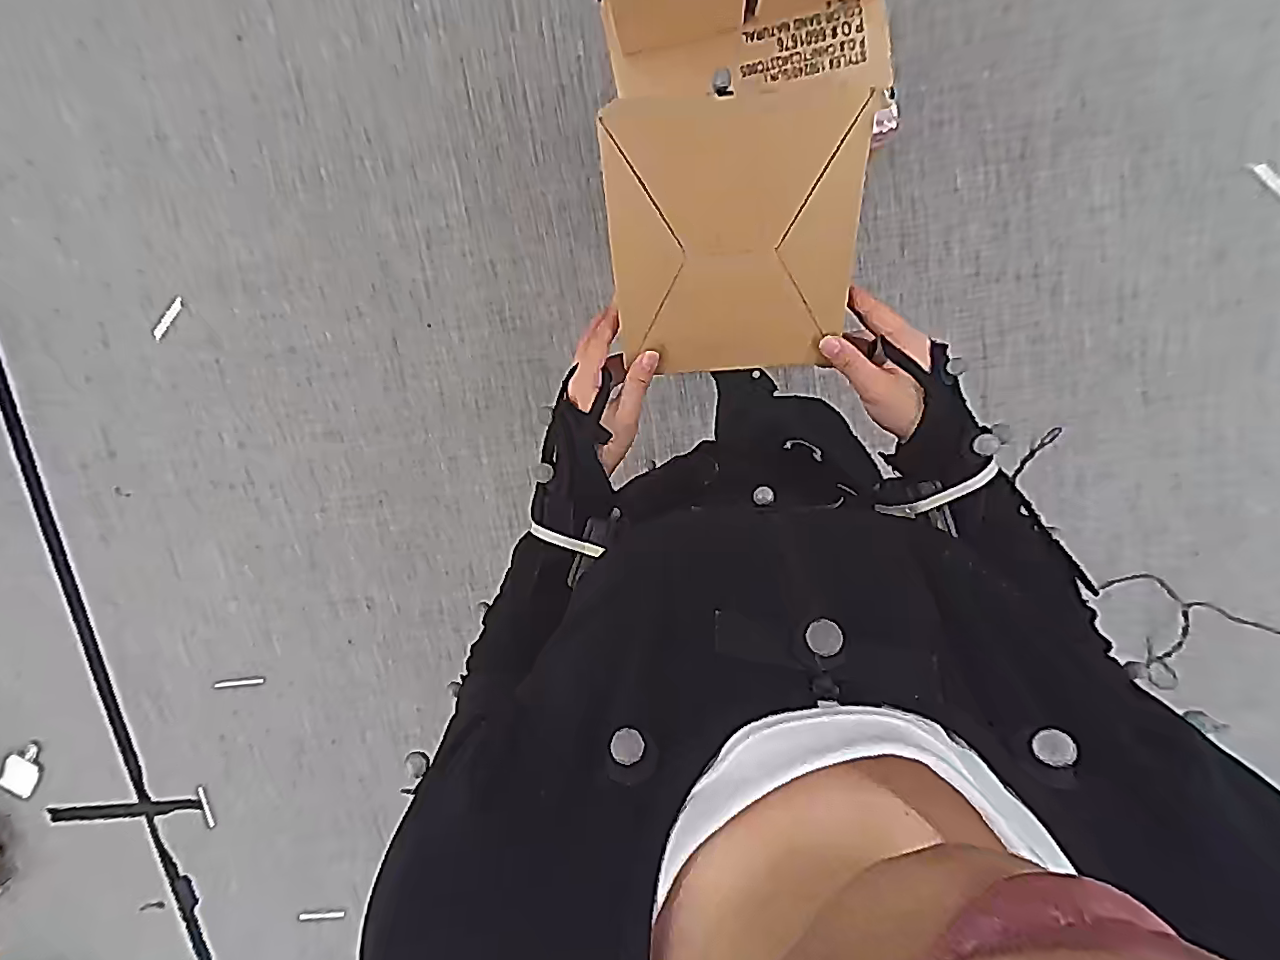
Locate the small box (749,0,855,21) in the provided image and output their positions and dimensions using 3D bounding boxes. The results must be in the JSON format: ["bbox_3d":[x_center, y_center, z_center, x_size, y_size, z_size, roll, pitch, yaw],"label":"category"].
[{"bbox_3d":[0.226,-0.713,0.656,0.179,0.176,0.168,-9,101,5],"label":"small box"}]

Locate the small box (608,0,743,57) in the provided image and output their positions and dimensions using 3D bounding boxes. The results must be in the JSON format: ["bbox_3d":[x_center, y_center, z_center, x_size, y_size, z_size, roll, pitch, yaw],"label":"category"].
[{"bbox_3d":[0.040,-0.679,0.675,0.179,0.176,0.168,-8,100,8],"label":"small box"}]
